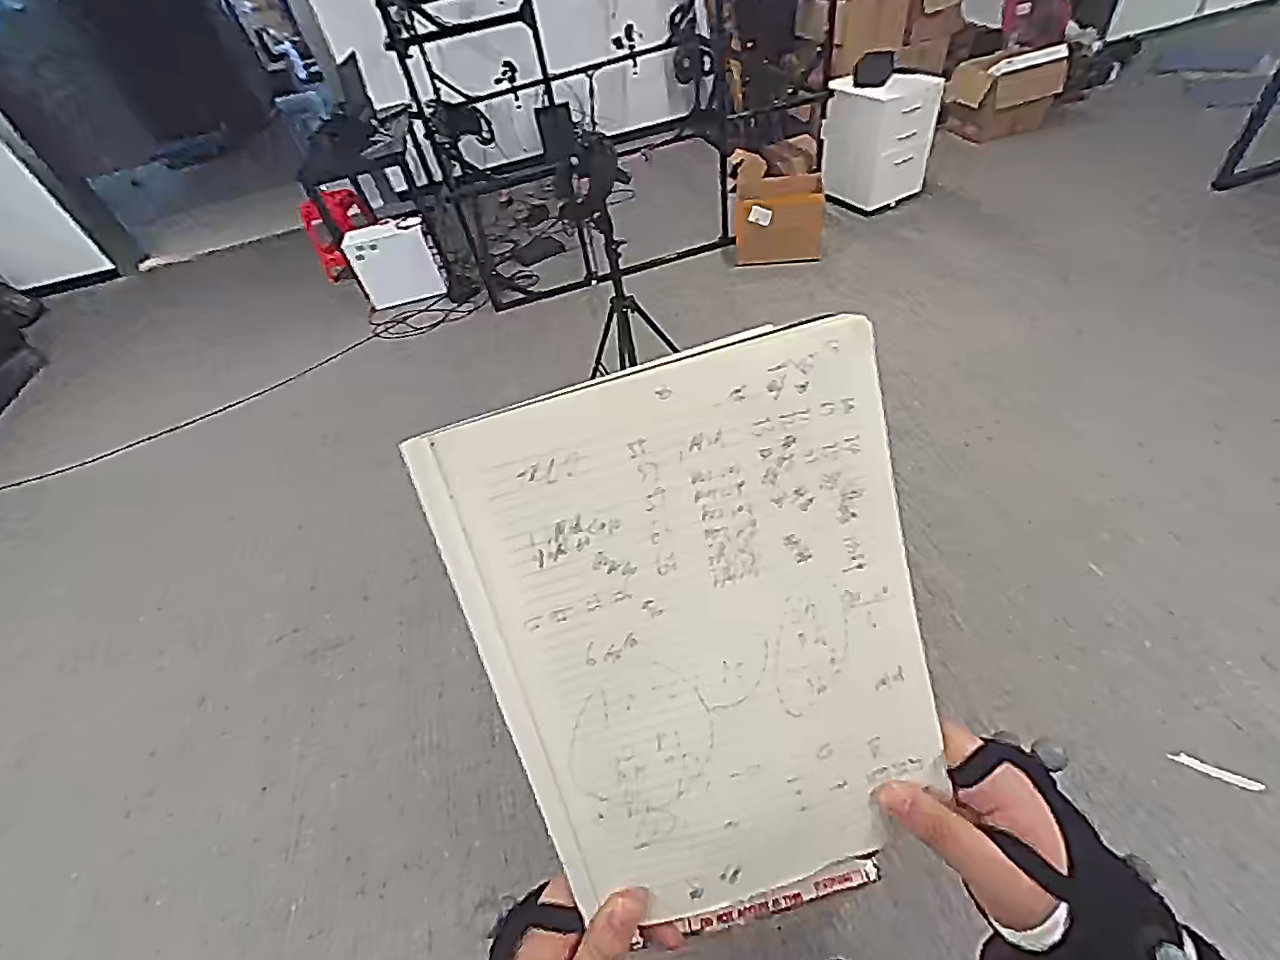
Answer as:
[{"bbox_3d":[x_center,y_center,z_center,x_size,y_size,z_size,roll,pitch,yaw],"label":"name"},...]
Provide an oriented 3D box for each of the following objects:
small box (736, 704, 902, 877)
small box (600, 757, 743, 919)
[{"bbox_3d":[0.256,0.473,0.823,0.179,0.176,0.168,-17,48,-6],"label":"small box"},{"bbox_3d":[0.049,0.535,0.806,0.179,0.176,0.168,-13,48,2],"label":"small box"}]
